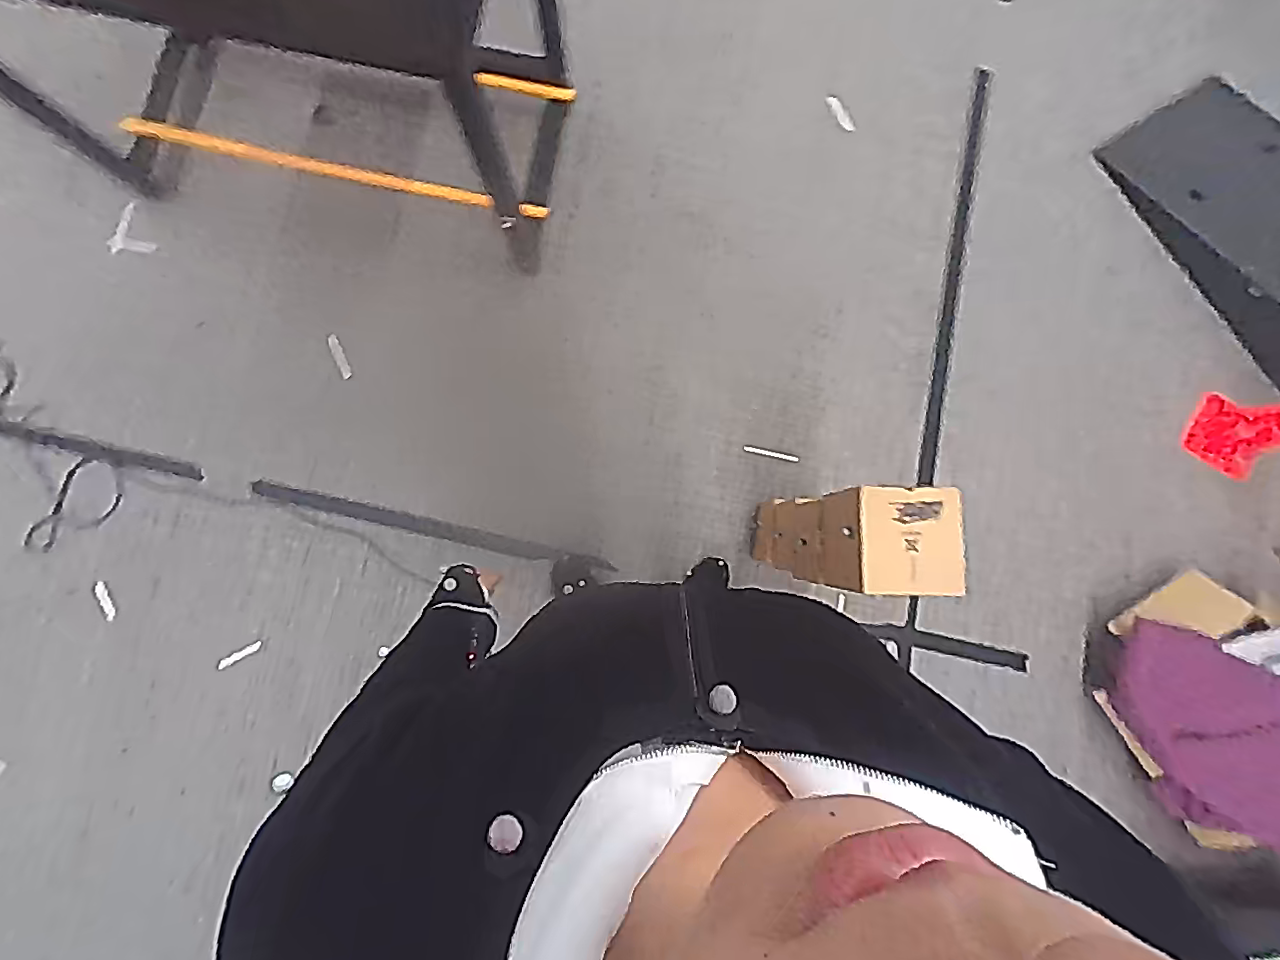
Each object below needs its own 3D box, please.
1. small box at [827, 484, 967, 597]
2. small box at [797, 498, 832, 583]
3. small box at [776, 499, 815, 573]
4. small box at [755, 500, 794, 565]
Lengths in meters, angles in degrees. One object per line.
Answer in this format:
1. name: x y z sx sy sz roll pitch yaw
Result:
1. small box: 0.435 0.106 0.941 0.168 0.176 0.179 2 83 -1
2. small box: 0.428 0.129 1.105 0.179 0.176 0.168 2 83 -1
3. small box: 0.431 0.138 1.269 0.179 0.176 0.168 4 82 0
4. small box: 0.416 0.151 1.434 0.179 0.176 0.168 8 83 1
